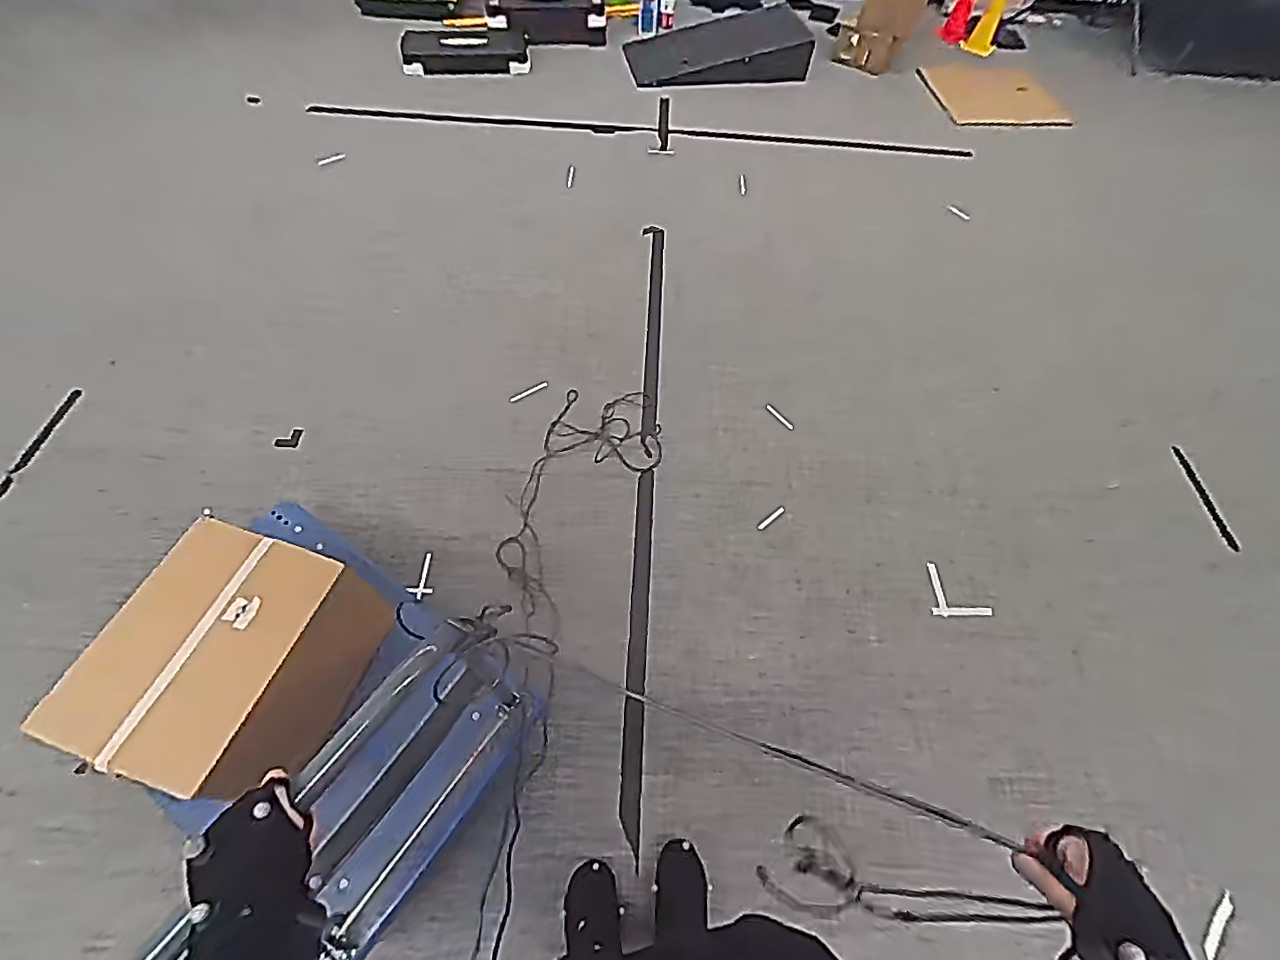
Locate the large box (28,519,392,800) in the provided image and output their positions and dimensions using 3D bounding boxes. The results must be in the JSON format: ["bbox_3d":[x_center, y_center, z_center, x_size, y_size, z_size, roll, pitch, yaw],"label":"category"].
[{"bbox_3d":[-0.766,0.354,1.051,0.320,0.320,0.408,17,59,6],"label":"large box"}]
